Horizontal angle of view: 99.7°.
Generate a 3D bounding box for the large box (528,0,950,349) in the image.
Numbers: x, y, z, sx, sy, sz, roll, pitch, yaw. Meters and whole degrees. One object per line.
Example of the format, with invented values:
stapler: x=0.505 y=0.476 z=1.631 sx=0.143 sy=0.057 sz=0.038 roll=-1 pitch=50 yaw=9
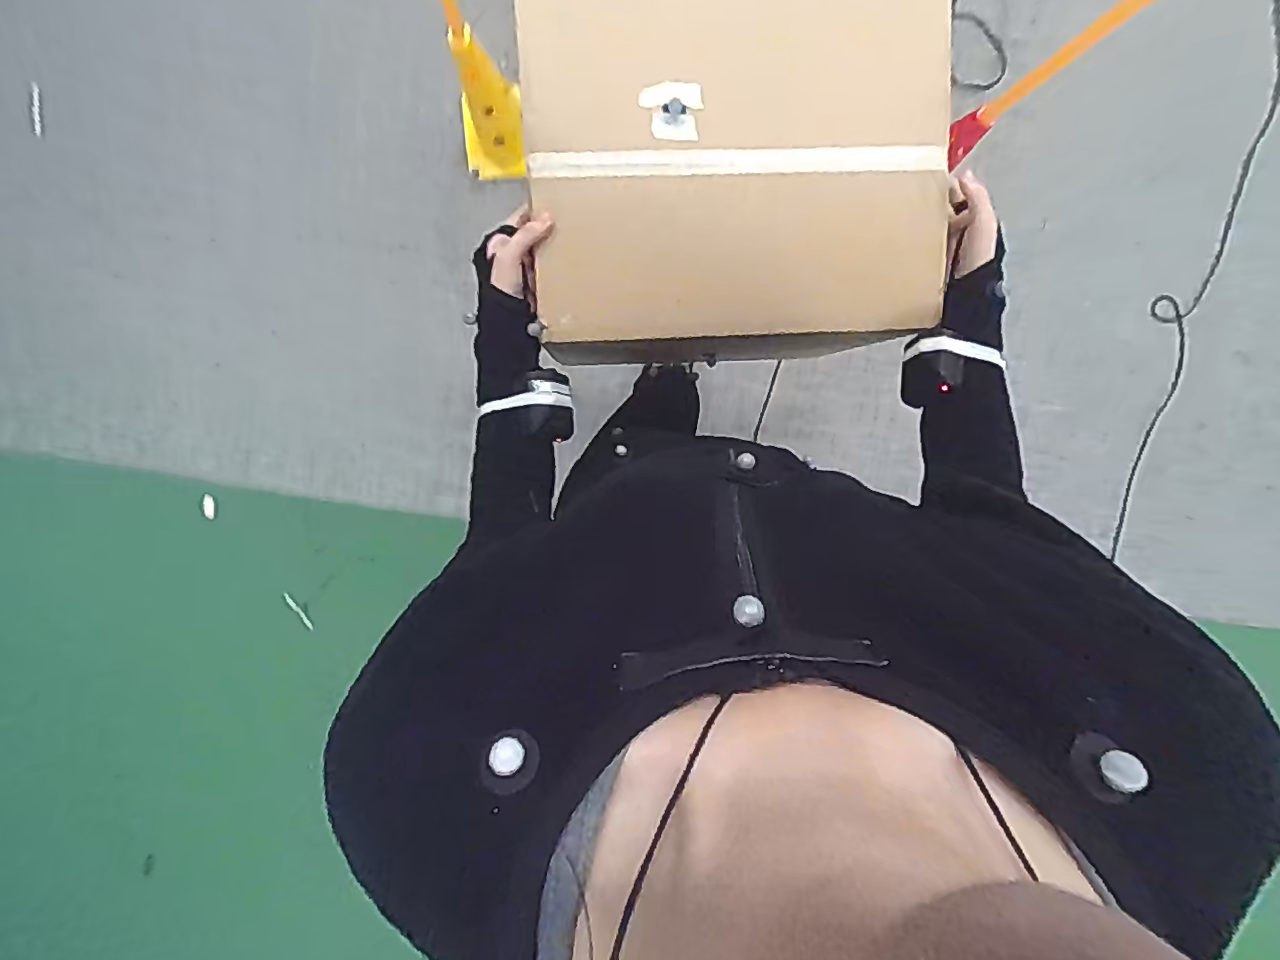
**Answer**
large box: x=0.094 y=-0.335 z=0.668 sx=0.408 sy=0.320 sz=0.320 roll=-2 pitch=98 yaw=-3
